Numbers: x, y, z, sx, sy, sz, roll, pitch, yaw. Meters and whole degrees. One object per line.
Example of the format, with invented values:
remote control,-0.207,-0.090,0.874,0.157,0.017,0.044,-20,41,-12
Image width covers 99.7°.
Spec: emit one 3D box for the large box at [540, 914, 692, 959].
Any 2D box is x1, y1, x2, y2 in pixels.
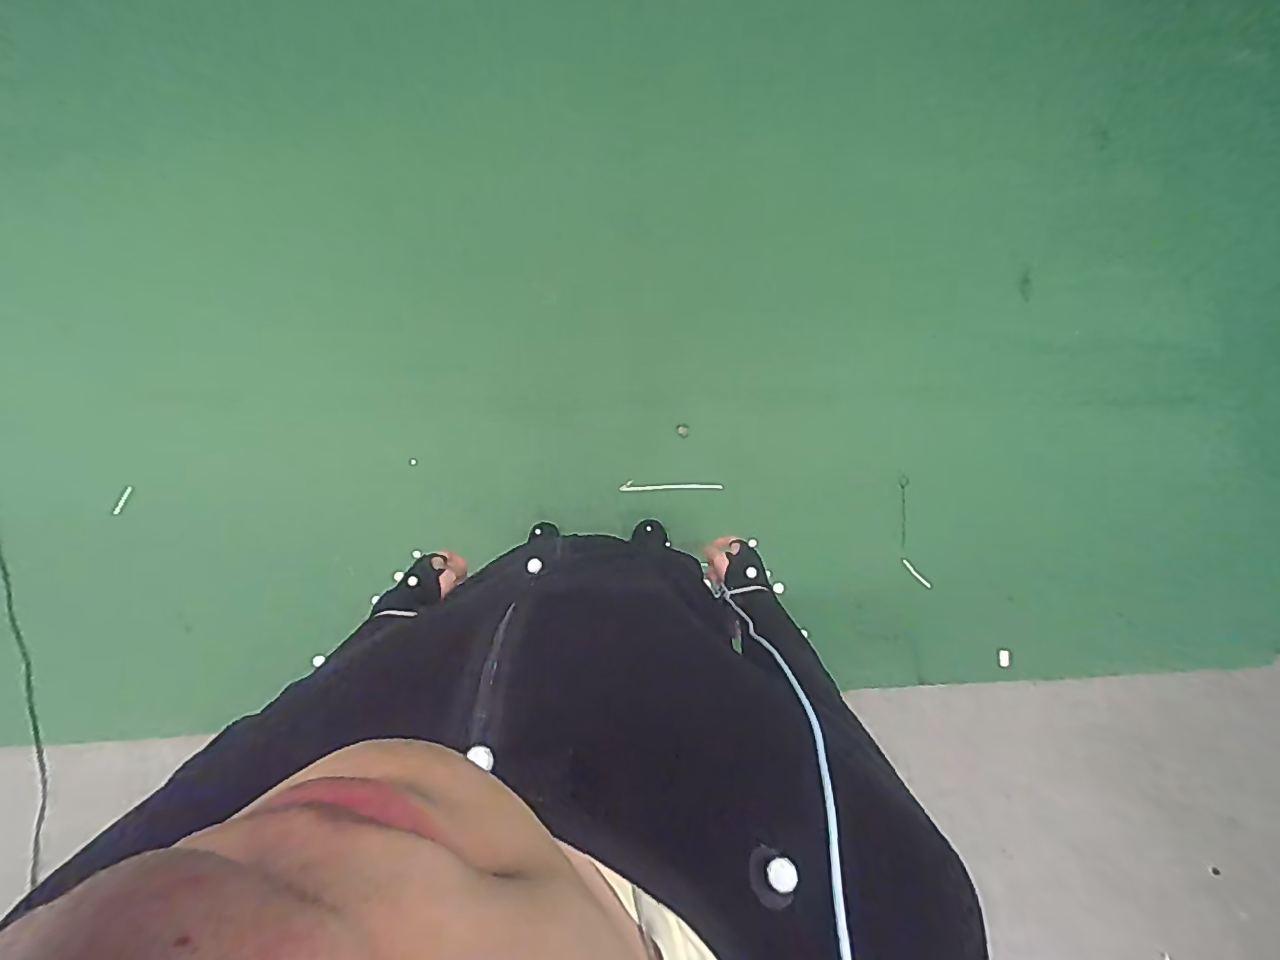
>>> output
large box,-0.055,1.418,1.409,0.408,0.320,0.320,-4,86,-4
